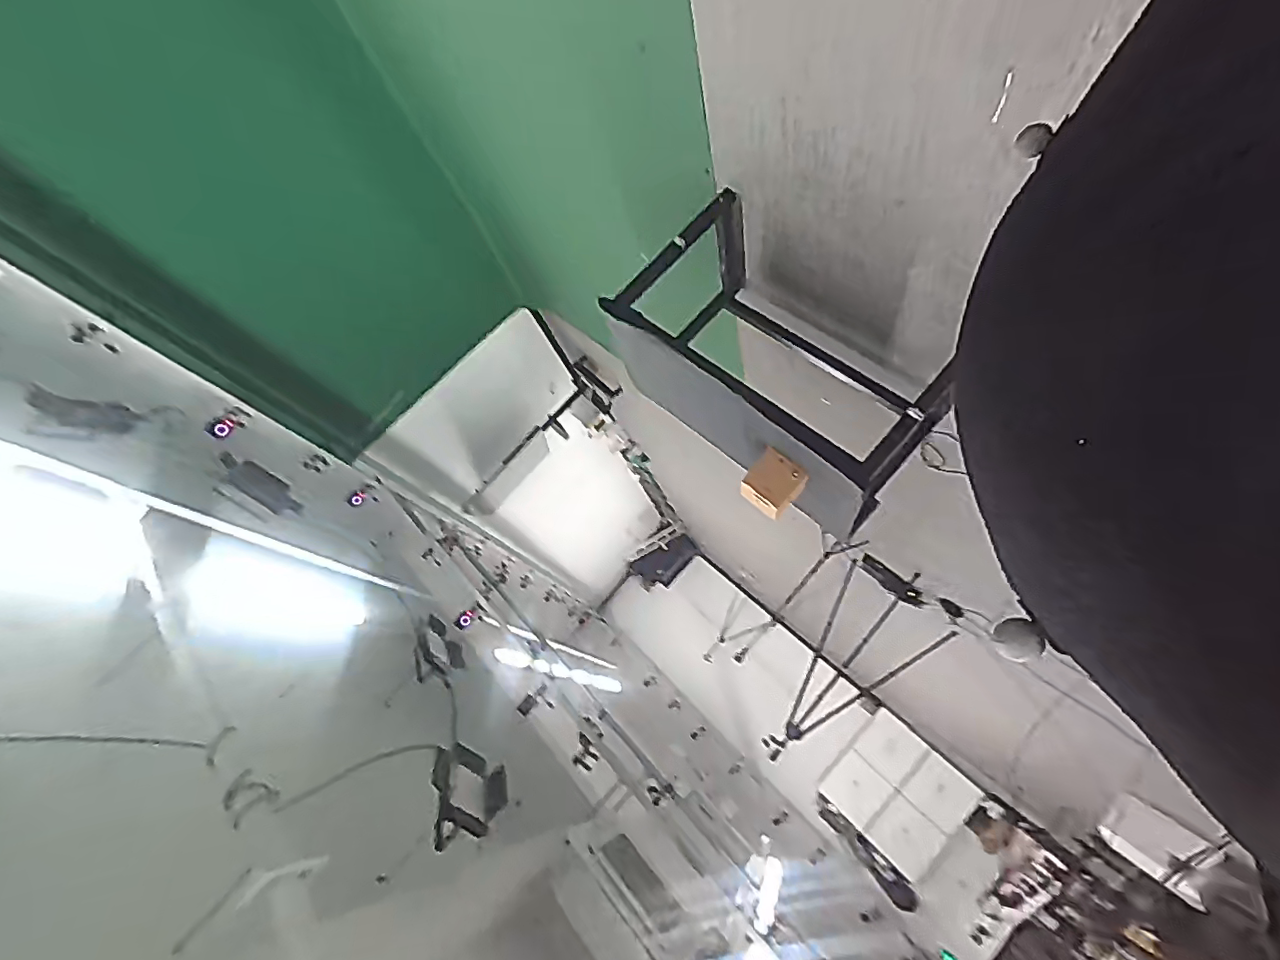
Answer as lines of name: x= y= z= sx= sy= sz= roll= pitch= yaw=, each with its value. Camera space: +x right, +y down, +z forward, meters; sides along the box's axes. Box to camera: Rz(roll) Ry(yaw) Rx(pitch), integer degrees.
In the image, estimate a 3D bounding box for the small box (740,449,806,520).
small box: x=0.483 y=0.013 z=1.972 sx=0.168 sy=0.176 sz=0.179 roll=41 pitch=172 yaw=20
